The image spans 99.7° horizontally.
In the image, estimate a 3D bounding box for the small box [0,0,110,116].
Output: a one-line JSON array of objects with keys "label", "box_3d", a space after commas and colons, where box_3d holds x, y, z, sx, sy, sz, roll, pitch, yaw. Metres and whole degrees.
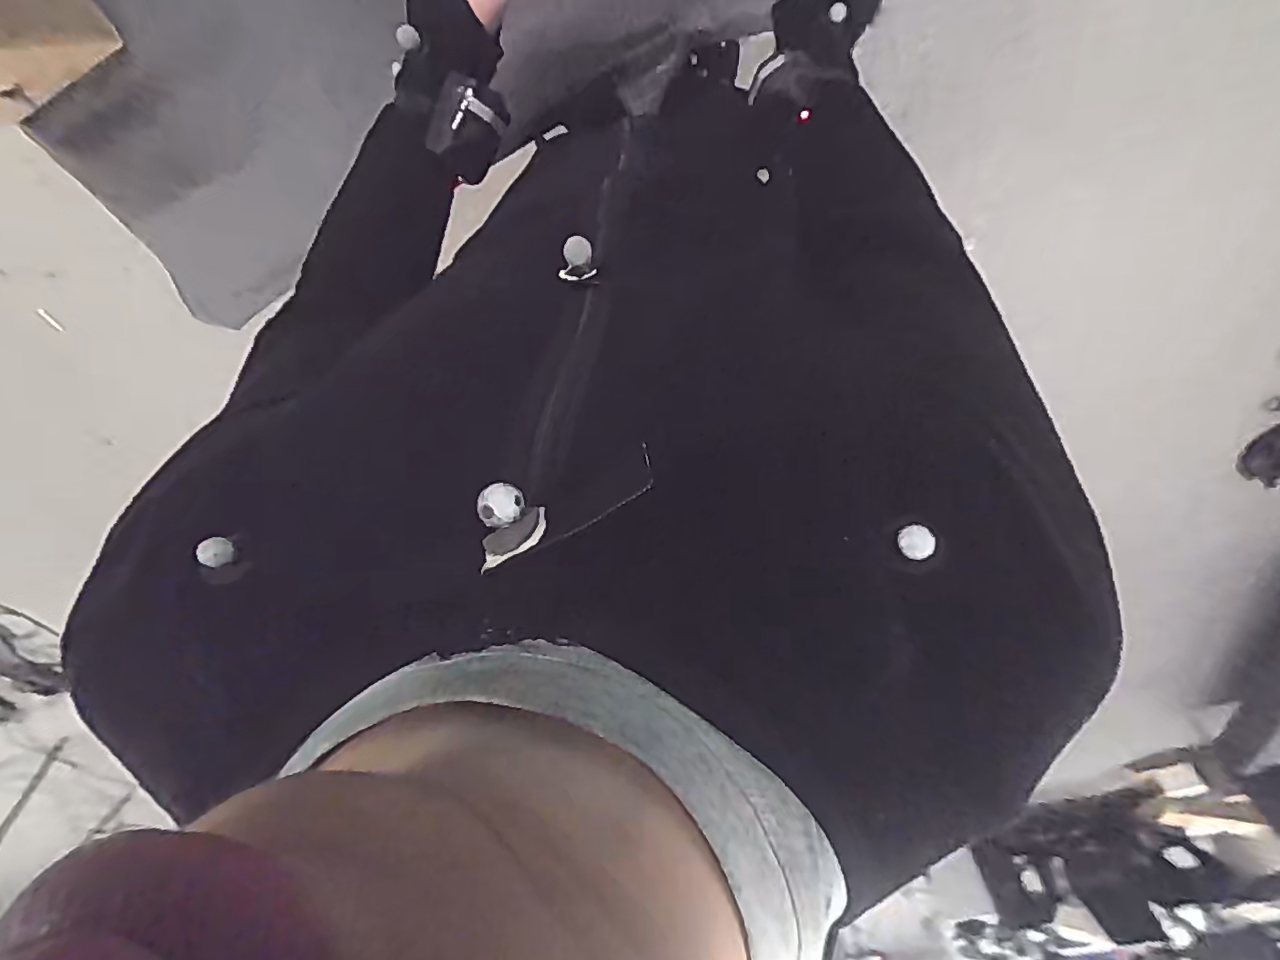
[{"label": "small box", "box_3d": [-0.603, -0.405, 0.430, 0.168, 0.176, 0.179, -22, 131, 12]}]
